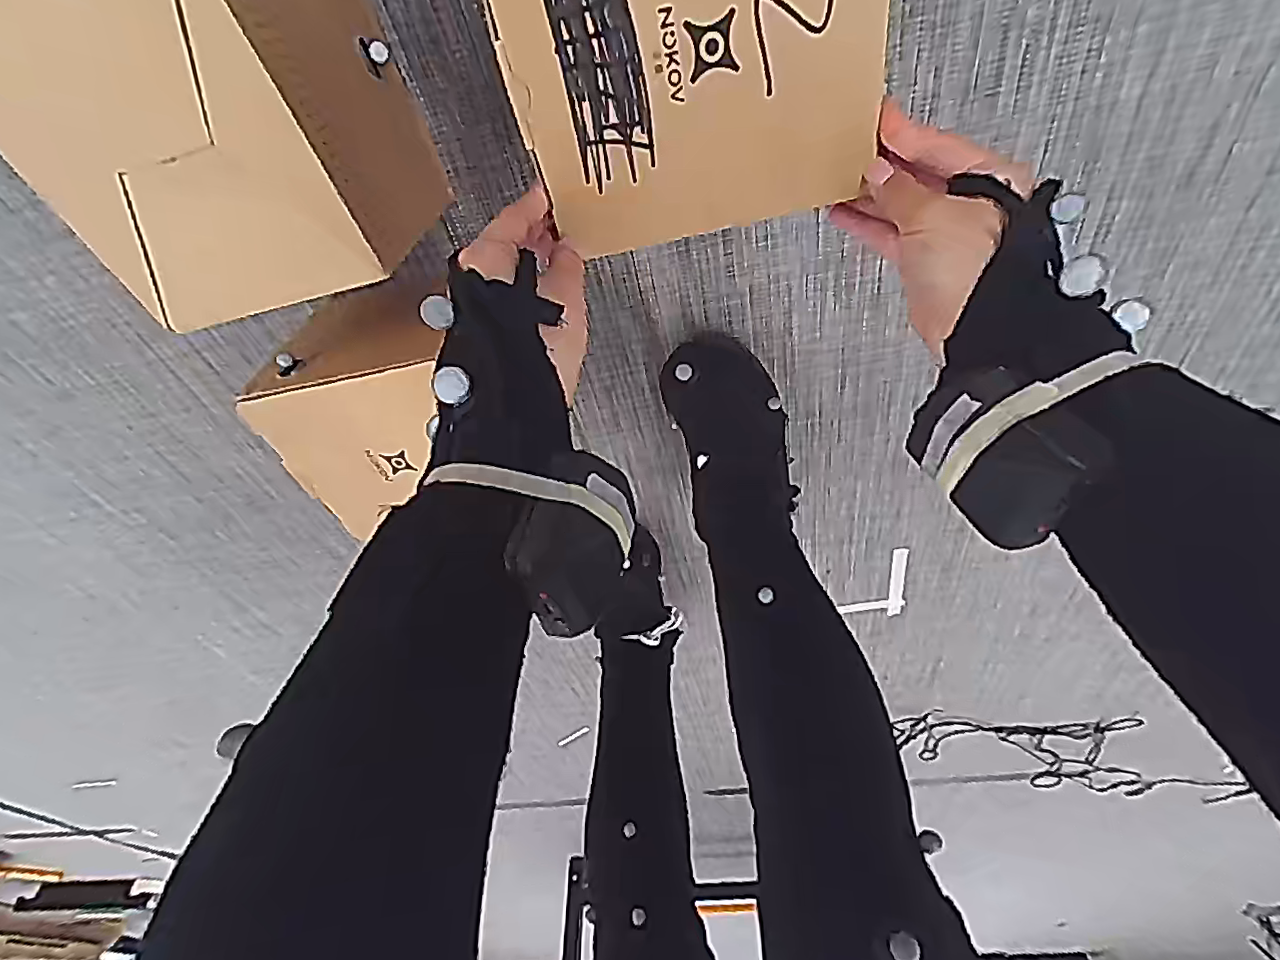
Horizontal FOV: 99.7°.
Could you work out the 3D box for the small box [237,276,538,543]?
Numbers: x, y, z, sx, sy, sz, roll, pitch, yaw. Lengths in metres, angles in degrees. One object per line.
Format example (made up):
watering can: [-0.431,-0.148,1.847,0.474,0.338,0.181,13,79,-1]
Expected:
small box: [-0.203,-0.067,0.501,0.179,0.176,0.168,-9,133,9]
